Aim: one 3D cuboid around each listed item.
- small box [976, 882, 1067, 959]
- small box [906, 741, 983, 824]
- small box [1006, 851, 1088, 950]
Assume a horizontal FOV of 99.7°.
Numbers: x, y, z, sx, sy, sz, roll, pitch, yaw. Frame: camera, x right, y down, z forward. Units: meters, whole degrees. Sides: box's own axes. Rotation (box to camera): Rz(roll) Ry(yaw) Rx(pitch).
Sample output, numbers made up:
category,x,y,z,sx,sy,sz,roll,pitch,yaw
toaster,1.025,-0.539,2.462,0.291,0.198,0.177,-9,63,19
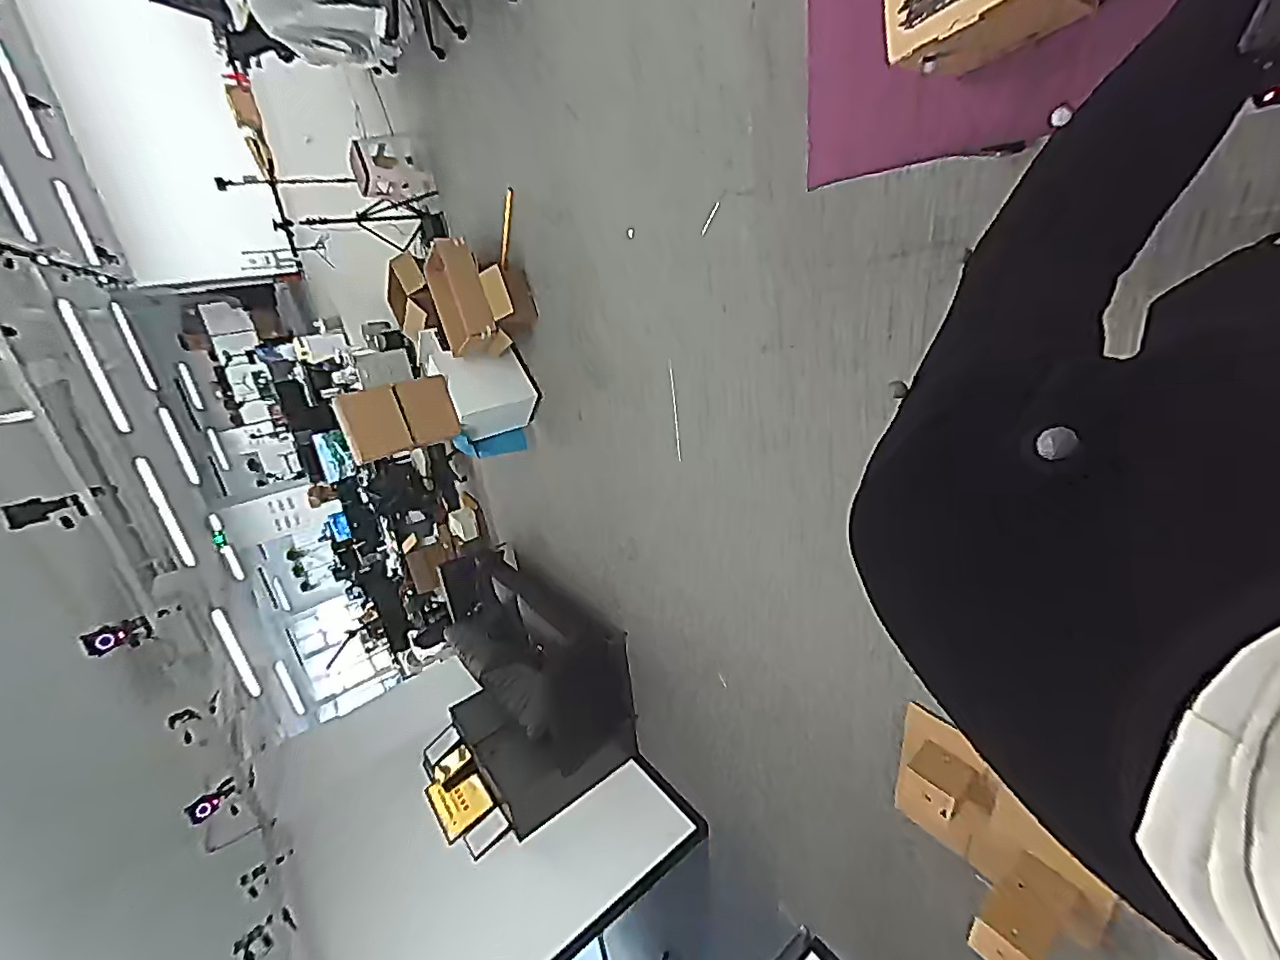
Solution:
category,x,y,z,sx,sy,sz,roll,pitch,yaw
small box,1.217,1.440,1.728,0.179,0.176,0.168,25,128,47
small box,1.116,1.096,1.983,0.179,0.176,0.168,27,130,47
small box,1.349,1.390,1.809,0.179,0.176,0.168,25,129,47
